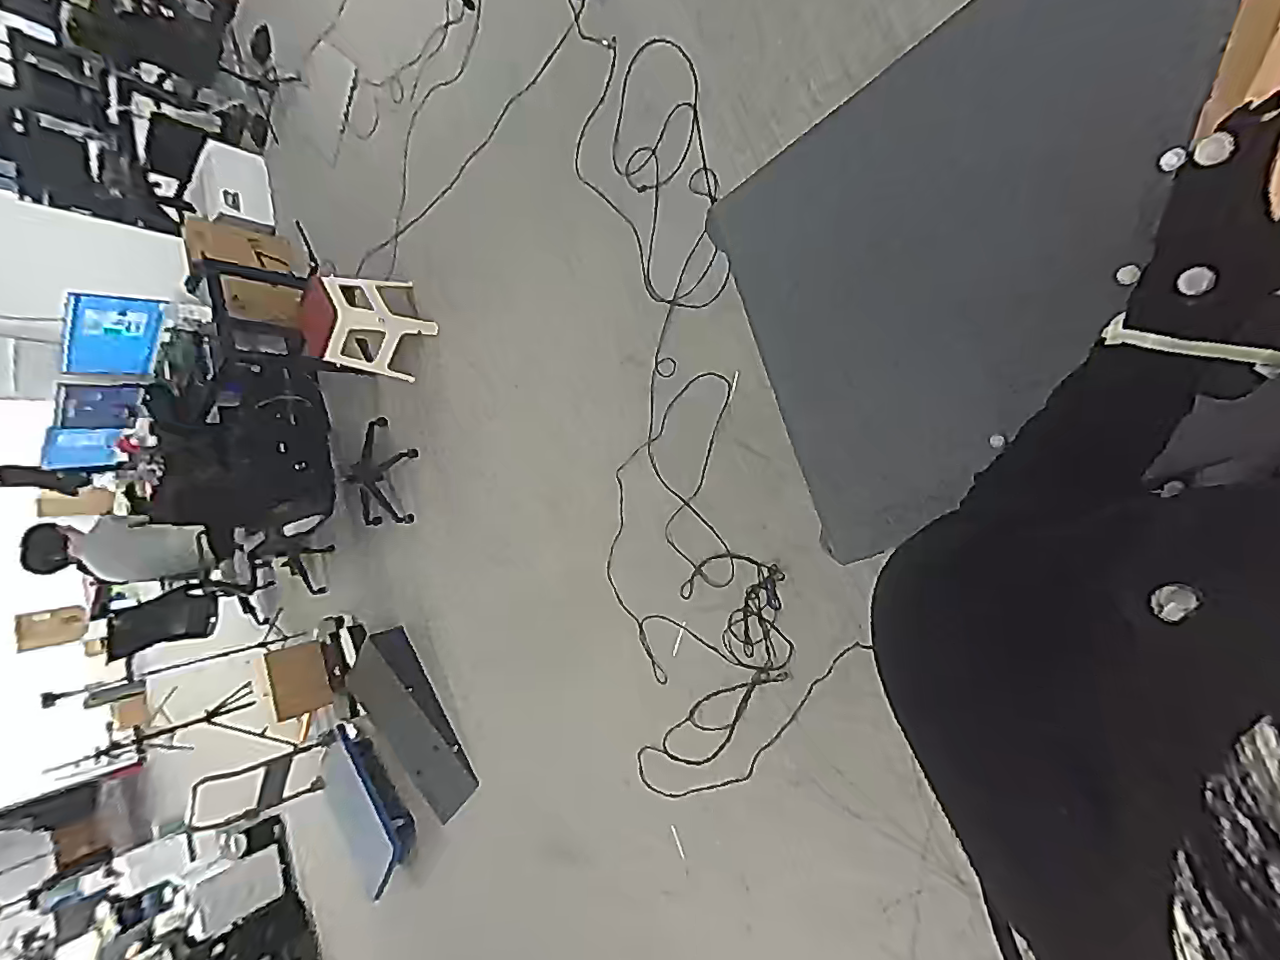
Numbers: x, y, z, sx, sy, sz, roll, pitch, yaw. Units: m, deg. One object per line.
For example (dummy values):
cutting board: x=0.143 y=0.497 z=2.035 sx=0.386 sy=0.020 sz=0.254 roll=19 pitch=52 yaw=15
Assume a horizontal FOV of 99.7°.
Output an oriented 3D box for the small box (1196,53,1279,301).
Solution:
small box: x=0.596 y=-0.265 z=0.429 sx=0.168 sy=0.176 sz=0.179 roll=-28 pitch=75 yaw=38
